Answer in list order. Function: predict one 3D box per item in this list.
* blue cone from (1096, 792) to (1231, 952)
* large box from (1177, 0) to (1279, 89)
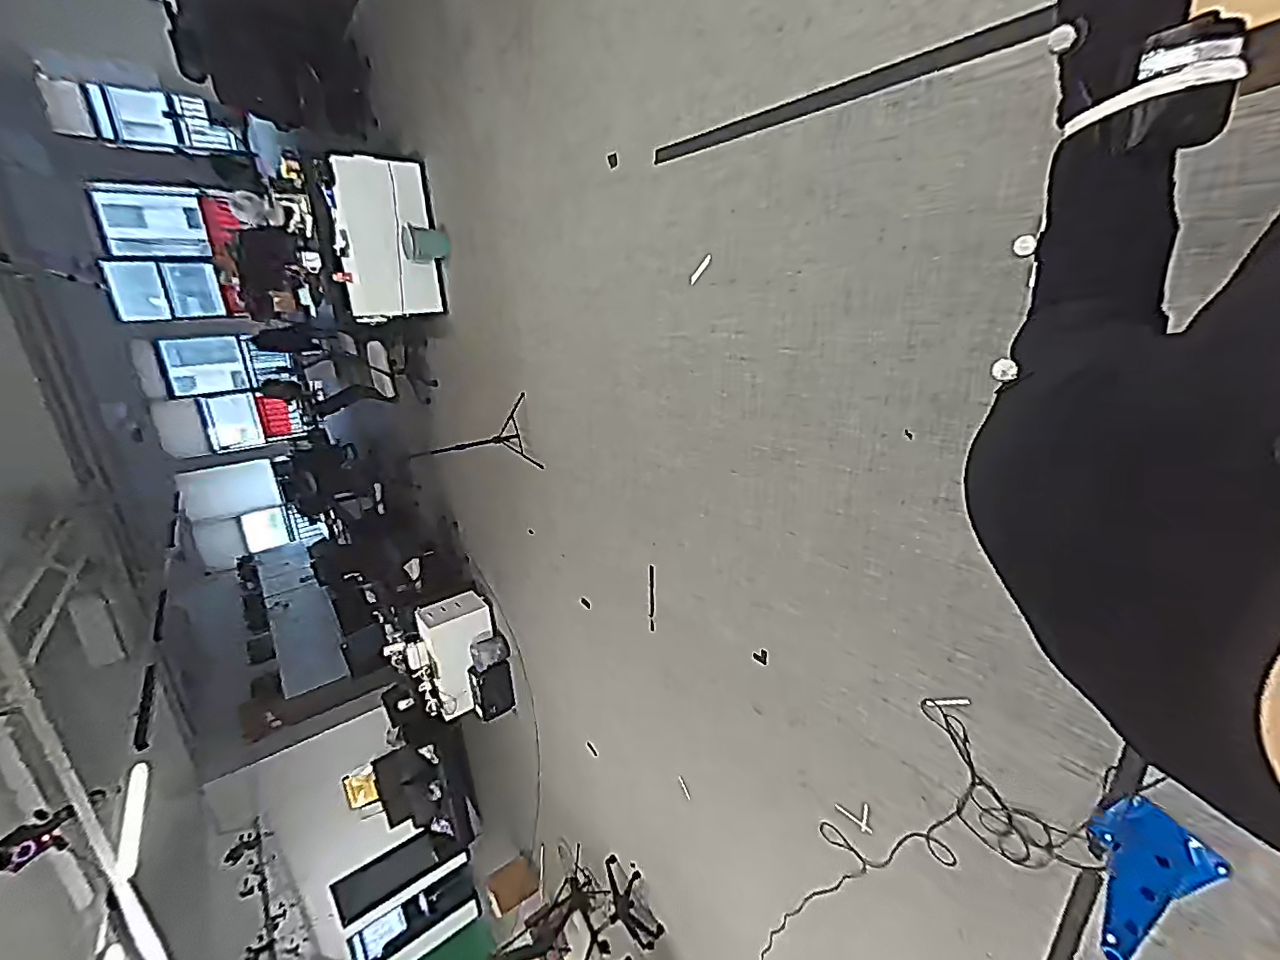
[{"bbox_3d":[1.116,0.905,1.205,0.193,0.380,0.192,45,136,35],"label":"blue cone"},{"bbox_3d":[0.567,-0.467,0.260,0.408,0.320,0.320,9,115,50],"label":"large box"}]
